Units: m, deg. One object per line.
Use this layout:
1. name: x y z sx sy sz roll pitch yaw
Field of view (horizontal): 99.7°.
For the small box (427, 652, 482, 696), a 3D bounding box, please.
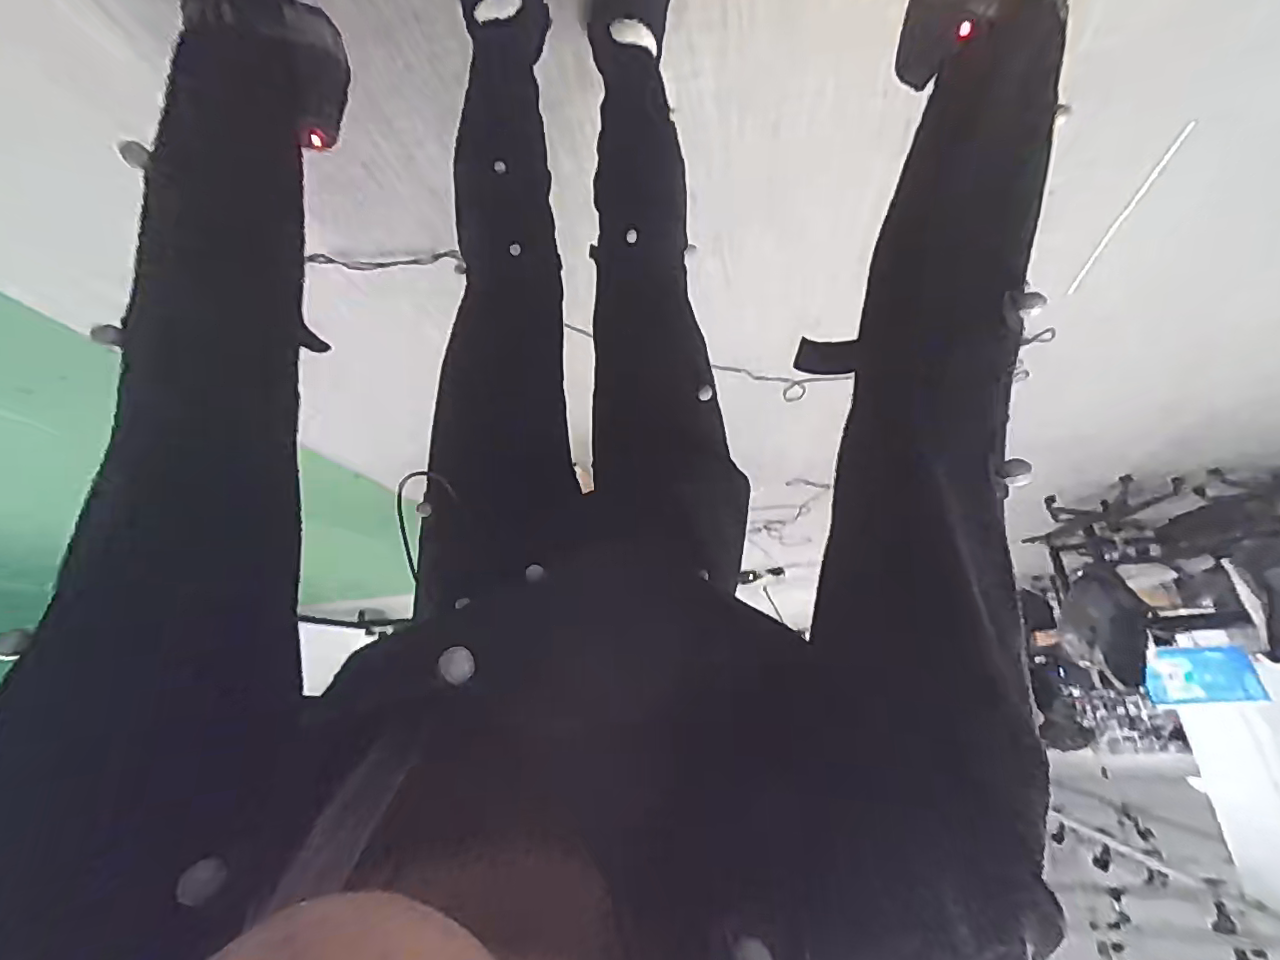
1. small box: -0.800 0.841 2.350 0.168 0.176 0.179 -8 158 10
